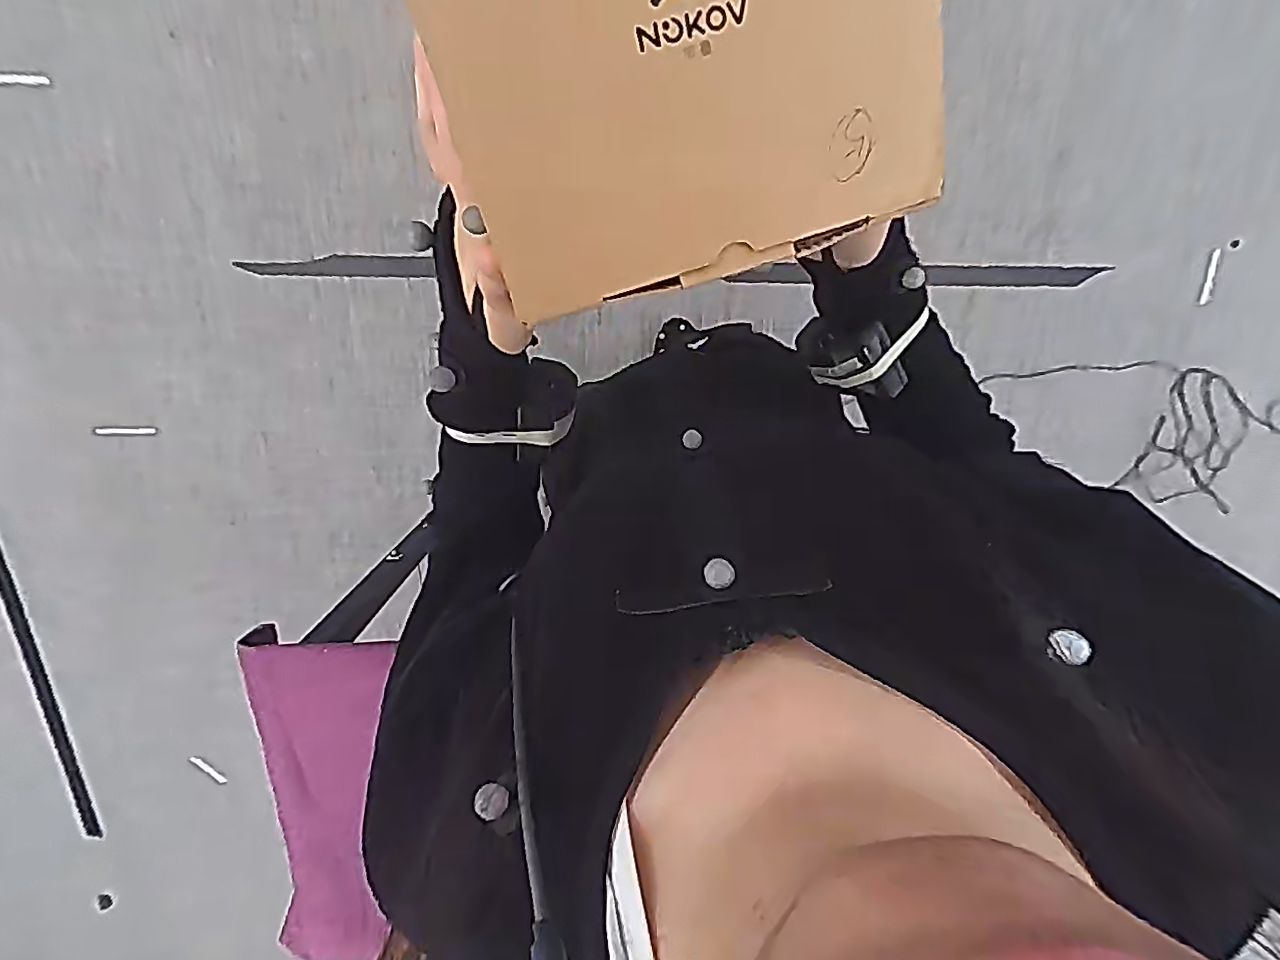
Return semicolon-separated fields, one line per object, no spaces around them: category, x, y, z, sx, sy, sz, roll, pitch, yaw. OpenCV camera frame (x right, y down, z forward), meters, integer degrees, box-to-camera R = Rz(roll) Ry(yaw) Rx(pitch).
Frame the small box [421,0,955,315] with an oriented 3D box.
small box;0.004;-0.188;0.235;0.168;0.176;0.179;-18;114;-2
